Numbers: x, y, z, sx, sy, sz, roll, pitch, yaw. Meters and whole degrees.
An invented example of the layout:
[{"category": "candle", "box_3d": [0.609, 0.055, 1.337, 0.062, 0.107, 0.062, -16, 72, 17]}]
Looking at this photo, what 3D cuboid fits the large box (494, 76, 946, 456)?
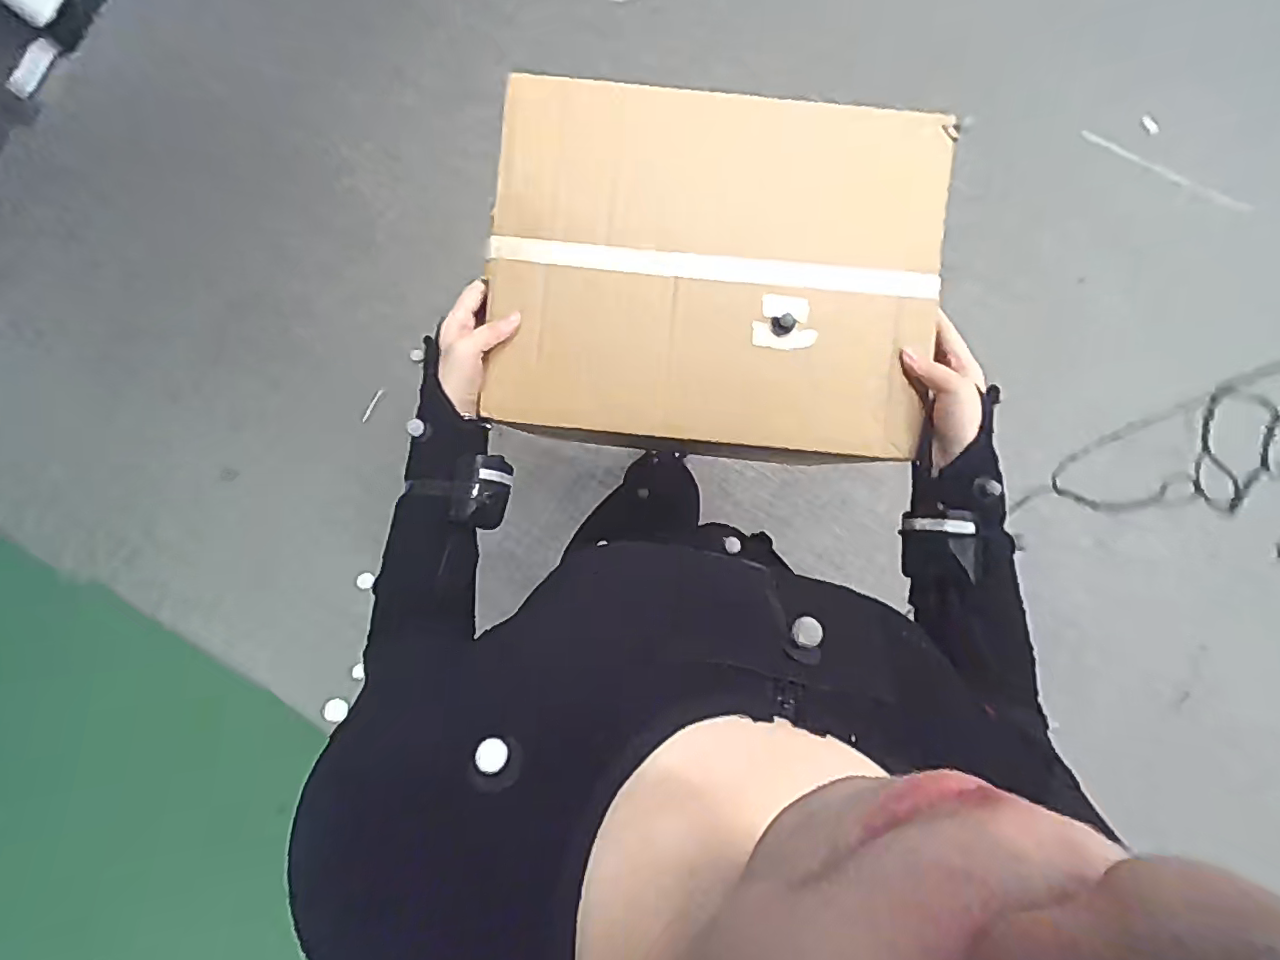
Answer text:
[{"category": "large box", "box_3d": [0.071, -0.203, 0.647, 0.408, 0.320, 0.320, 6, 91, -1]}]
